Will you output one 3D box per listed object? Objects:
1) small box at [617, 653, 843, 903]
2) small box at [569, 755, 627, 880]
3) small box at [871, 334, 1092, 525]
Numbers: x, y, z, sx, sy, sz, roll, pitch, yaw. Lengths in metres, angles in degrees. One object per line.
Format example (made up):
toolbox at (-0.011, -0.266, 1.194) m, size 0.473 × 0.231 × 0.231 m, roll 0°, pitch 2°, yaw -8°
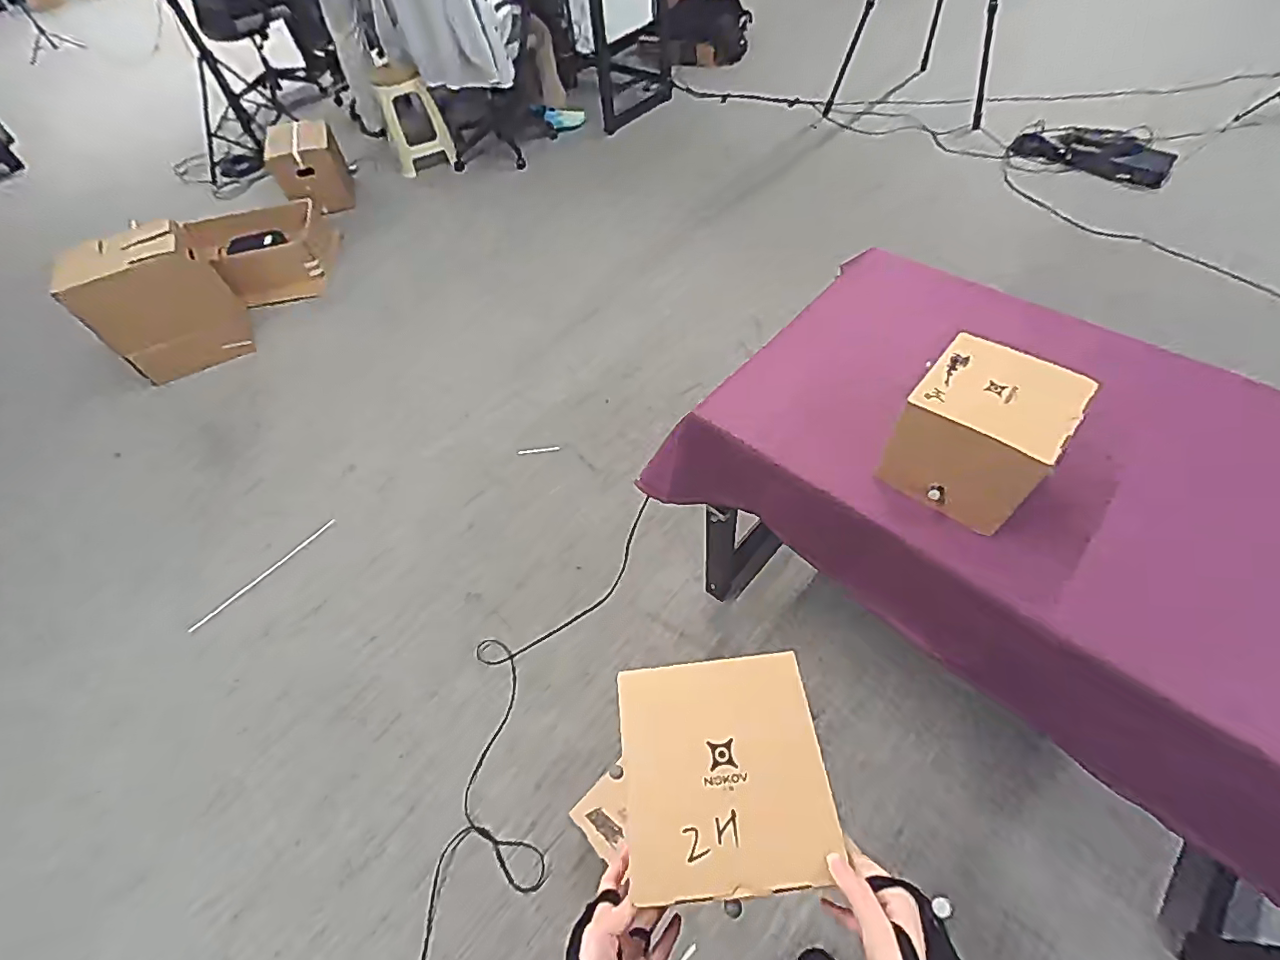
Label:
small box at (0.070, 0.287, 0.518) m, size 0.168 × 0.176 × 0.179 m, roll -7°, pitch 54°, yaw 1°
small box at (-0.021, 0.709, 1.150) m, size 0.179 × 0.176 × 0.168 m, roll -39°, pitch 60°, yaw -21°
small box at (0.457, -0.062, 0.749) m, size 0.179 × 0.176 × 0.168 m, roll 34°, pitch 64°, yaw 25°
